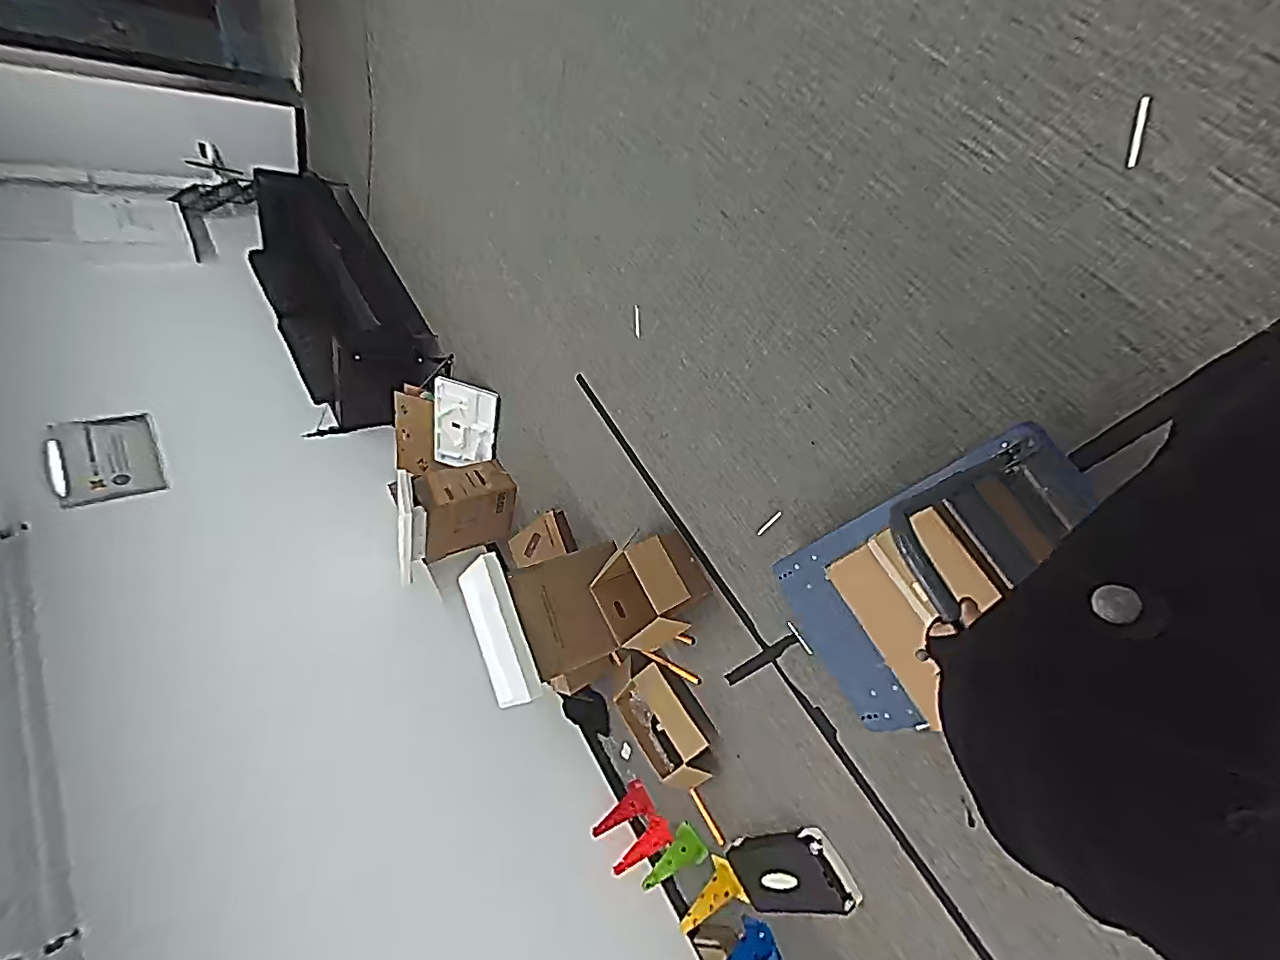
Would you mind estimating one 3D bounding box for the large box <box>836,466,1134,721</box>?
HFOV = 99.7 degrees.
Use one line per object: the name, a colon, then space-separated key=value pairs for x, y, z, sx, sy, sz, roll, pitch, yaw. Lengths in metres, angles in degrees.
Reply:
large box: x=0.732 y=0.237 z=1.178 sx=0.408 sy=0.320 sz=0.320 roll=60 pitch=141 yaw=19
